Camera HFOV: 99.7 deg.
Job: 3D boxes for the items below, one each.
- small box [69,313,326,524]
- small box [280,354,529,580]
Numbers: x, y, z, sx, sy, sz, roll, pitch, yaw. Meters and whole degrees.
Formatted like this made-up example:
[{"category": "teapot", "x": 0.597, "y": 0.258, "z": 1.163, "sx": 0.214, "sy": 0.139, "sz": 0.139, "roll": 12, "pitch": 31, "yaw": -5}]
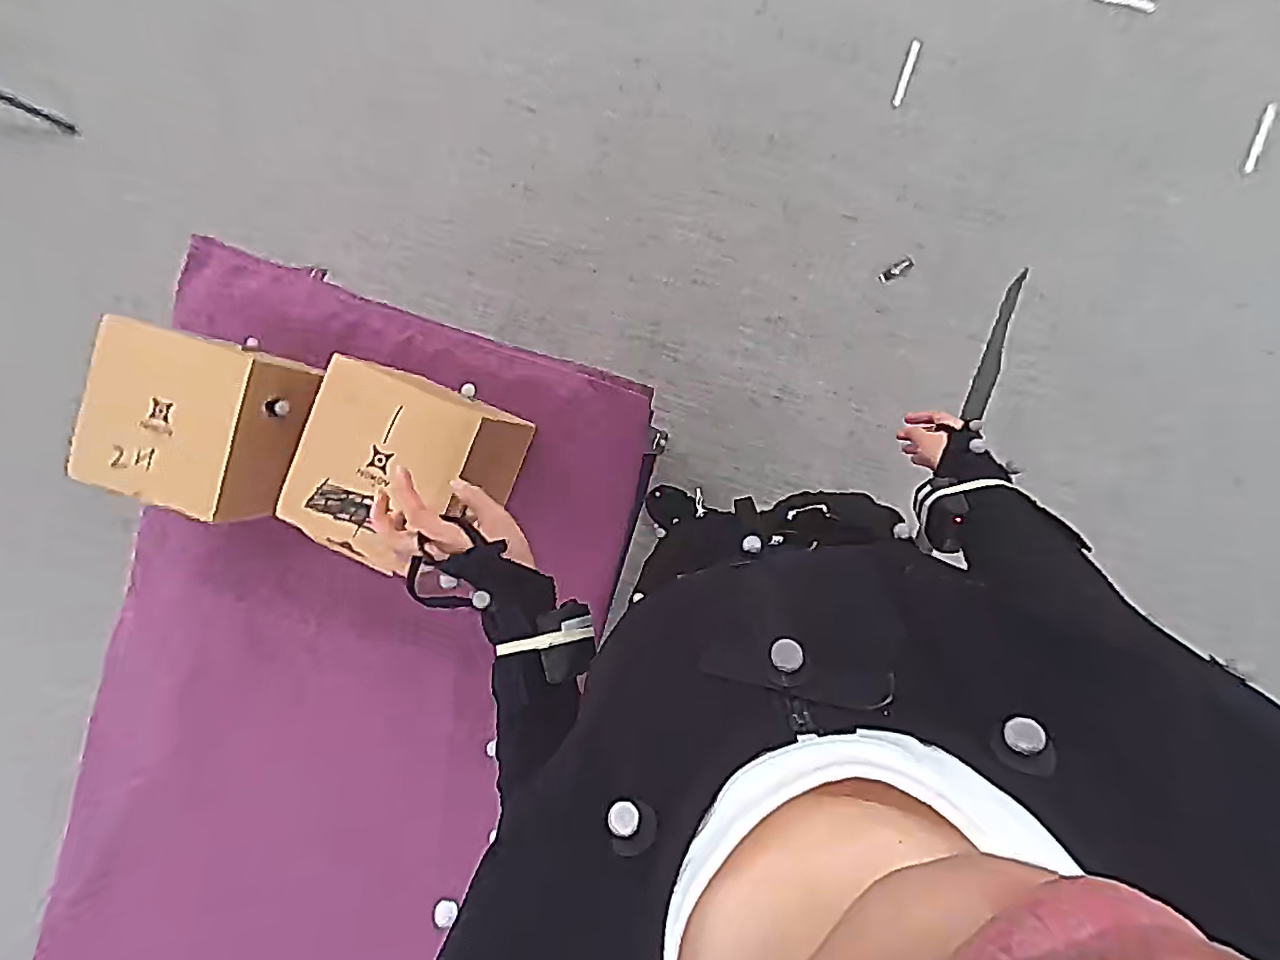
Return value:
[{"category": "small box", "x": -0.473, "y": -0.065, "z": 0.620, "sx": 0.168, "sy": 0.176, "sz": 0.179, "roll": 17, "pitch": 94, "yaw": 3}, {"category": "small box", "x": -0.243, "y": -0.016, "z": 0.602, "sx": 0.168, "sy": 0.176, "sz": 0.179, "roll": 23, "pitch": 95, "yaw": 5}]
